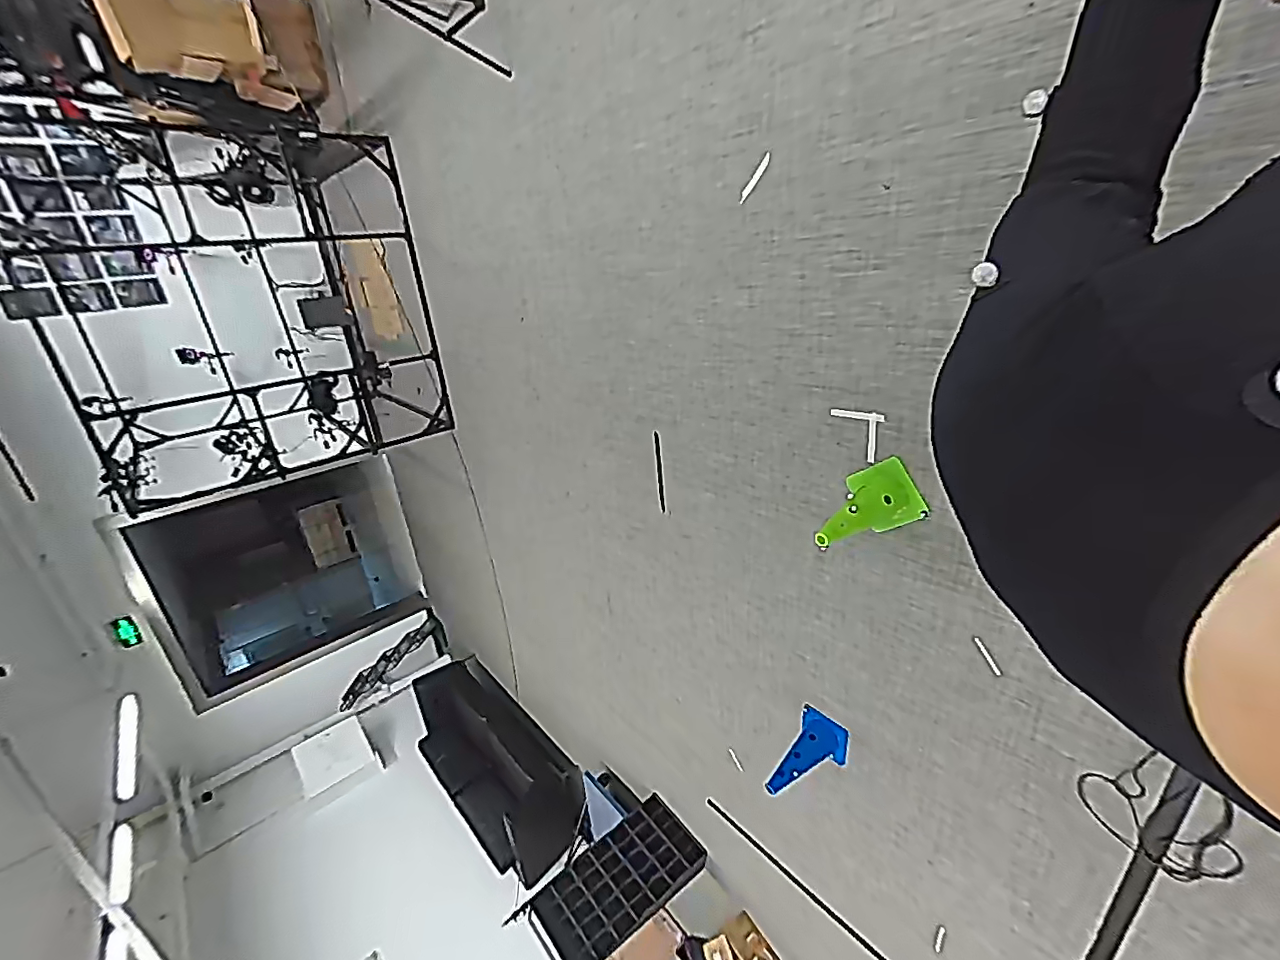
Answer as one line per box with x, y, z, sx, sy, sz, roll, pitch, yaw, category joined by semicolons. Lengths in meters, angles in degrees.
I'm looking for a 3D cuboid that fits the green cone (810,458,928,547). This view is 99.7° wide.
0.615;0.101;1.550;0.200;0.368;0.202;63;146;8;green cone

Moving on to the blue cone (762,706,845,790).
0.618;1.085;2.110;0.192;0.380;0.193;26;127;45;blue cone
